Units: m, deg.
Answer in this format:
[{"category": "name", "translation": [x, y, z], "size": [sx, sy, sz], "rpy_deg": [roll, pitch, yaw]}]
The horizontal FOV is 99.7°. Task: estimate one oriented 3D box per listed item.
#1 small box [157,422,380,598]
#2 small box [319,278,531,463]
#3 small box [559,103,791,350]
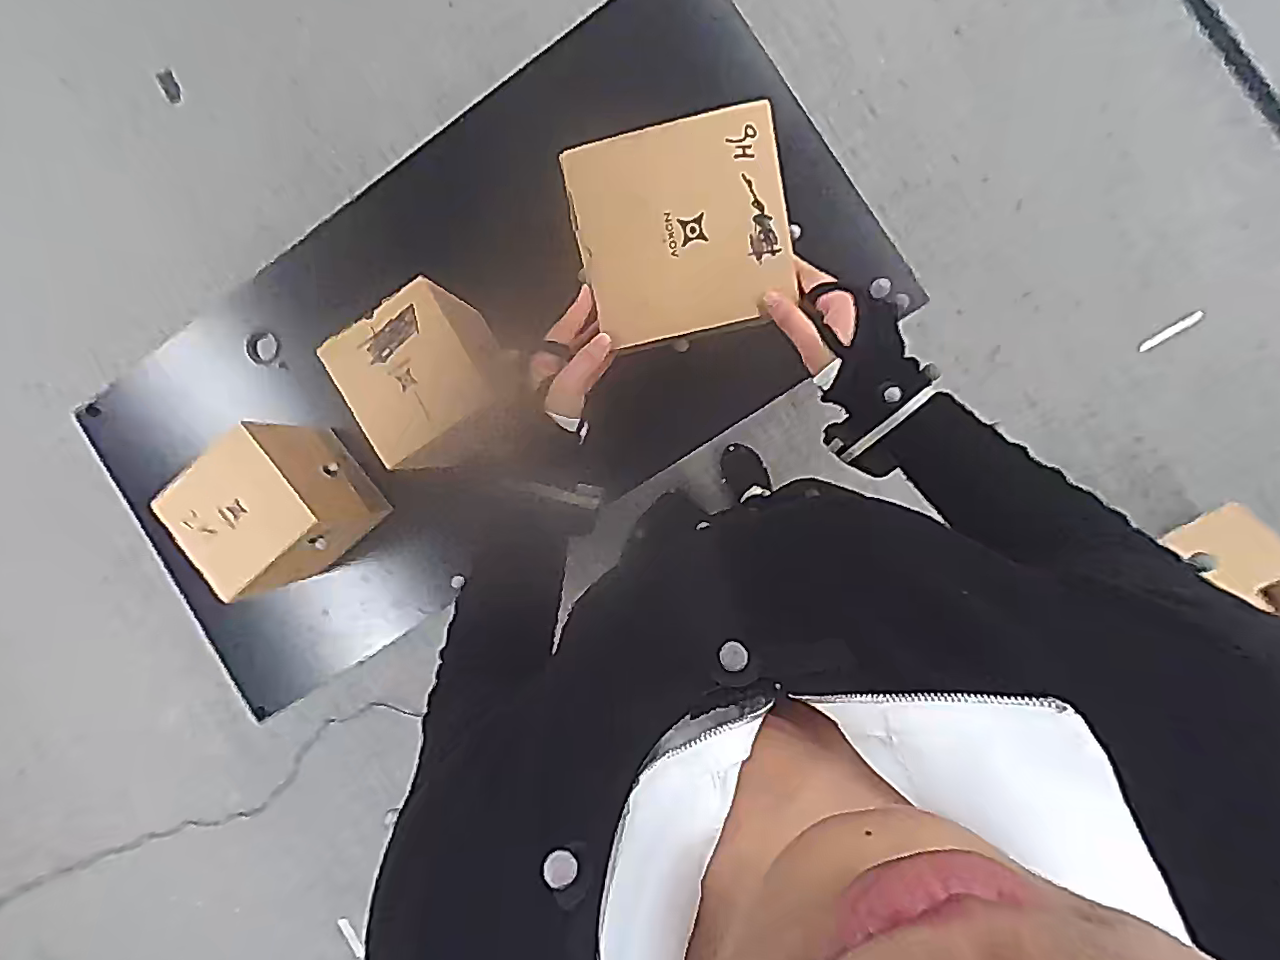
[{"category": "small box", "translation": [-0.510, 0.035, 0.776], "size": [0.179, 0.176, 0.168], "rpy_deg": [-40, 87, 8]}, {"category": "small box", "translation": [-0.279, -0.136, 0.739], "size": [0.168, 0.176, 0.179], "rpy_deg": [-32, 89, 8]}, {"category": "small box", "translation": [0.037, -0.227, 0.537], "size": [0.179, 0.176, 0.168], "rpy_deg": [-11, 101, 6]}]
